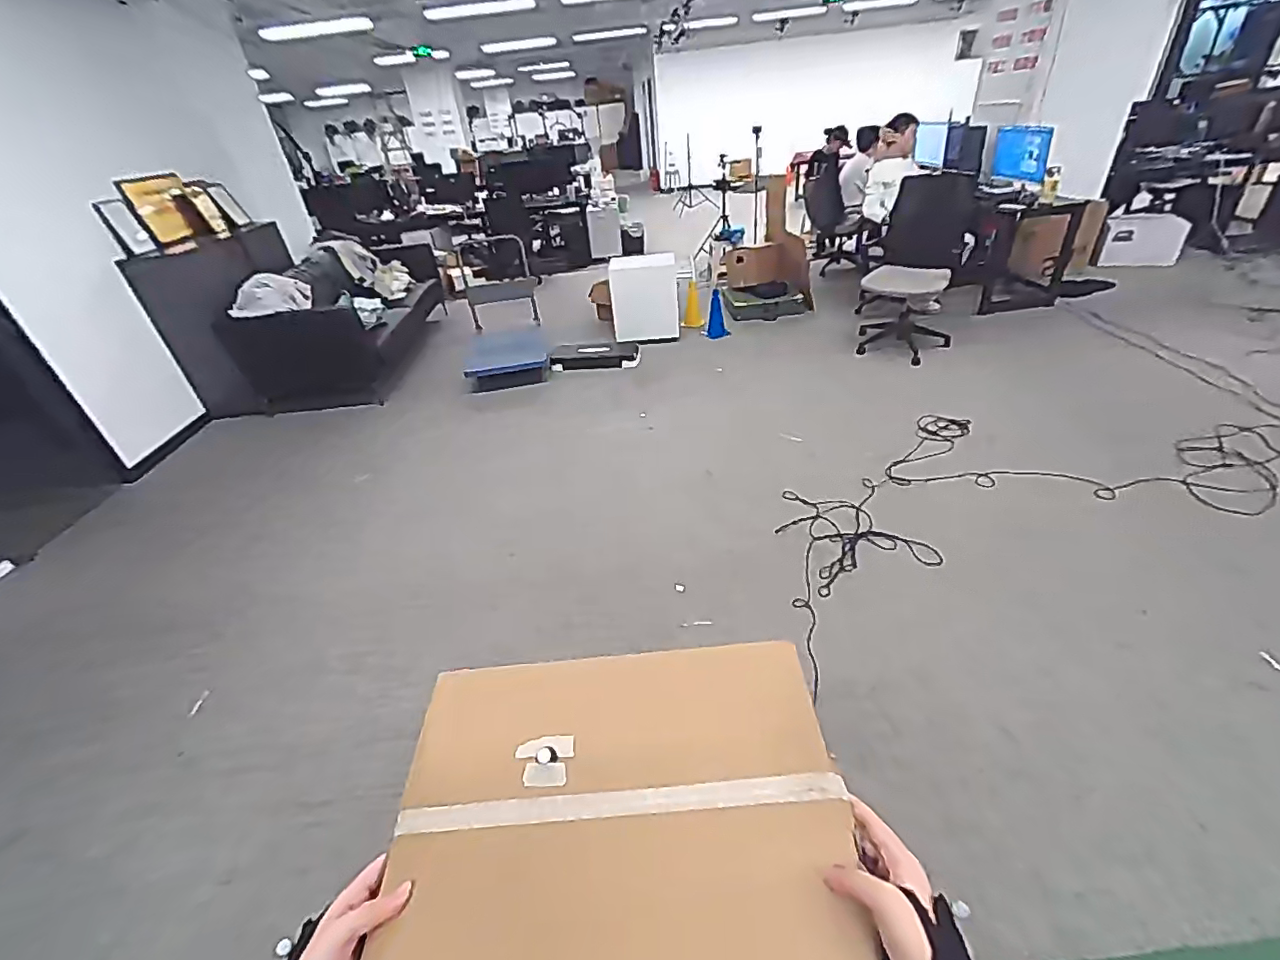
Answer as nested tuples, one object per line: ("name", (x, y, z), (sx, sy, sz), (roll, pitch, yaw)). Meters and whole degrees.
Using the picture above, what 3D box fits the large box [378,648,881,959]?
("large box", (0.001, 0.424, 0.592), (0.408, 0.320, 0.320), (-8, 39, 4))
